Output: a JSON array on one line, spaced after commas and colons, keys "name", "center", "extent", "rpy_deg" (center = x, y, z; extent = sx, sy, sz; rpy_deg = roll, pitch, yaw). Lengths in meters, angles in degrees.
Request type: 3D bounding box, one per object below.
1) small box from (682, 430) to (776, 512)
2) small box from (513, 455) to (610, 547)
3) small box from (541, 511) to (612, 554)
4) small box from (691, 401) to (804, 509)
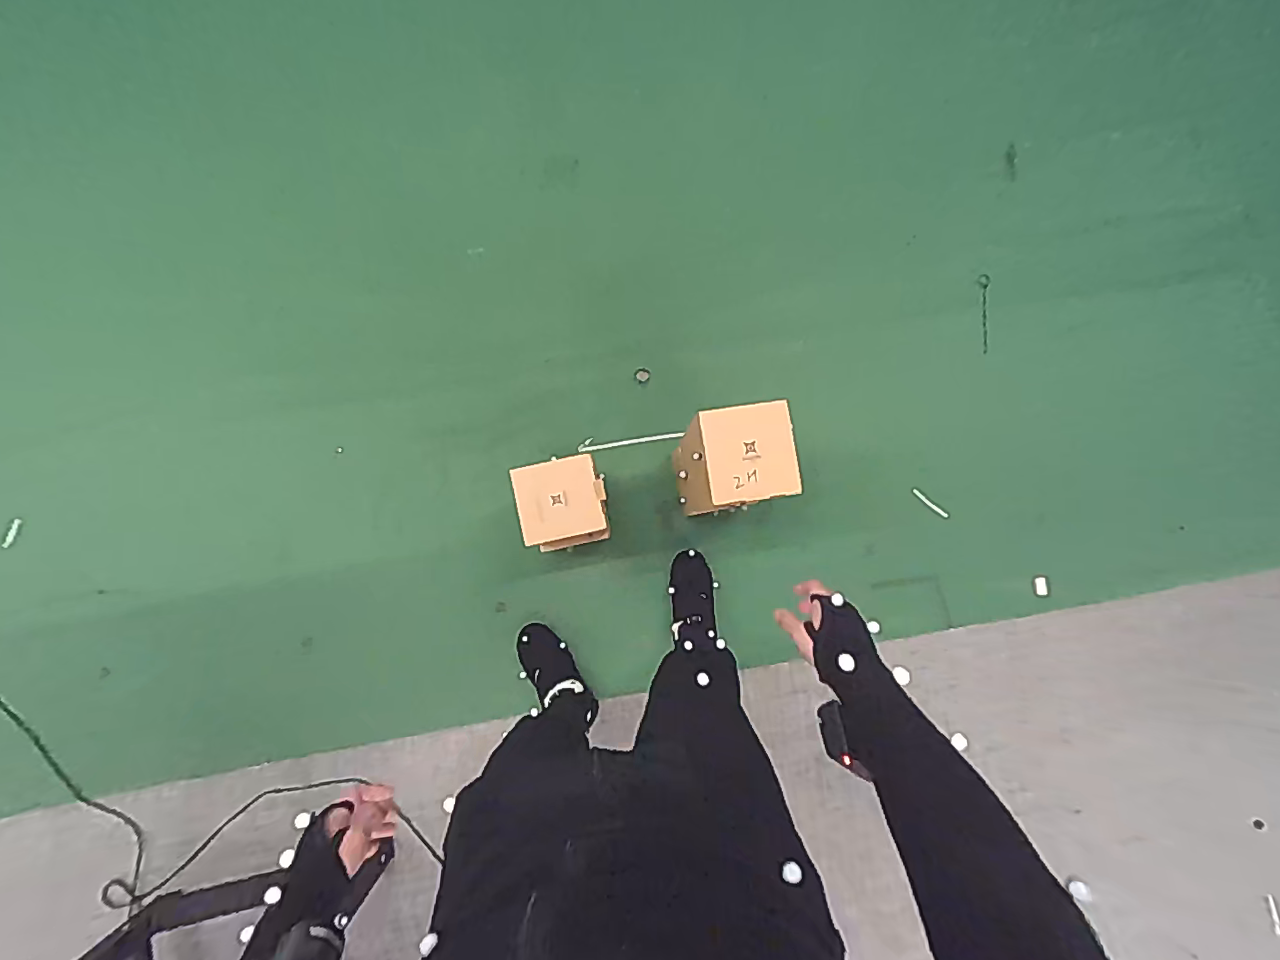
[{"name": "small box", "center": [0.196, -0.027, 1.210], "extent": [0.168, 0.176, 0.179], "rpy_deg": [-9, 87, -4]}, {"name": "small box", "center": [-0.165, 0.049, 1.195], "extent": [0.179, 0.176, 0.168], "rpy_deg": [-12, 84, -2]}, {"name": "small box", "center": [-0.168, 0.080, 1.355], "extent": [0.168, 0.176, 0.179], "rpy_deg": [-12, 85, -2]}, {"name": "small box", "center": [0.198, -0.042, 1.046], "extent": [0.168, 0.176, 0.179], "rpy_deg": [-8, 86, -3]}]
